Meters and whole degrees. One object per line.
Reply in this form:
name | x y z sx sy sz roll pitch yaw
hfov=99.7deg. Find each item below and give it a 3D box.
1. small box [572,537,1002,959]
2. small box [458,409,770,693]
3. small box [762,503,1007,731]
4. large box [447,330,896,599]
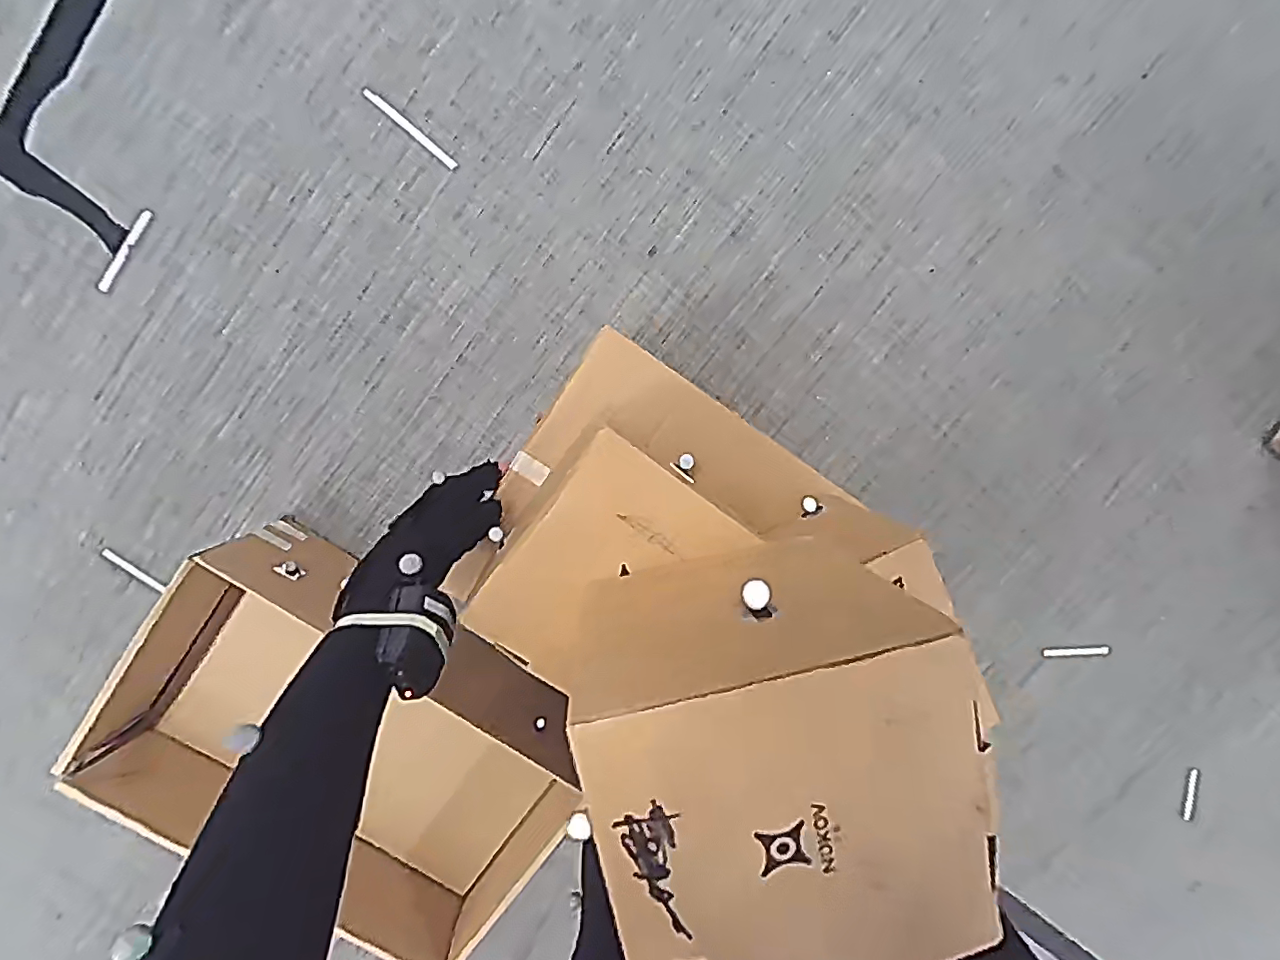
small box | 0.062 0.143 0.312 0.179 0.176 0.168 -13 99 -4
small box | -0.022 0.058 0.459 0.168 0.176 0.179 34 95 -12
small box | 0.167 0.133 0.483 0.168 0.176 0.179 -28 99 2
large box | 0.032 0.051 0.709 0.408 0.320 0.320 32 97 -11
